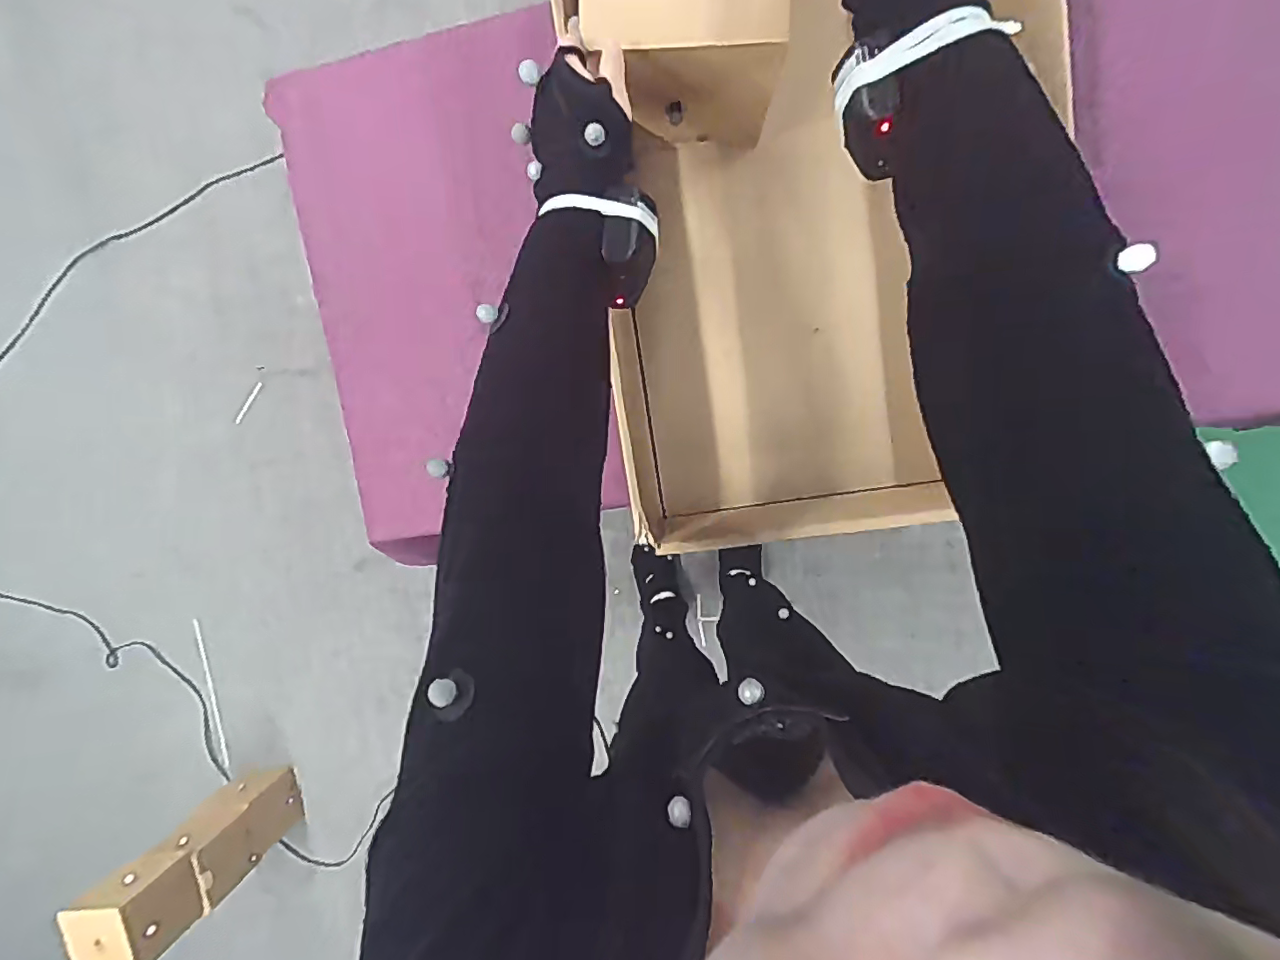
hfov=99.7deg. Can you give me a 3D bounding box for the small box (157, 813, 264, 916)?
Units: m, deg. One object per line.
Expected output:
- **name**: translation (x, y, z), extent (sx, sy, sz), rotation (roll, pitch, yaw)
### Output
- **small box**: translation (-1.159, 1.031, 1.460), extent (0.179, 0.176, 0.168), rotation (-9, 95, 10)

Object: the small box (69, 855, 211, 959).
- **small box**: translation (-1.189, 1.038, 1.299), extent (0.168, 0.176, 0.179), rotation (-9, 96, 9)
